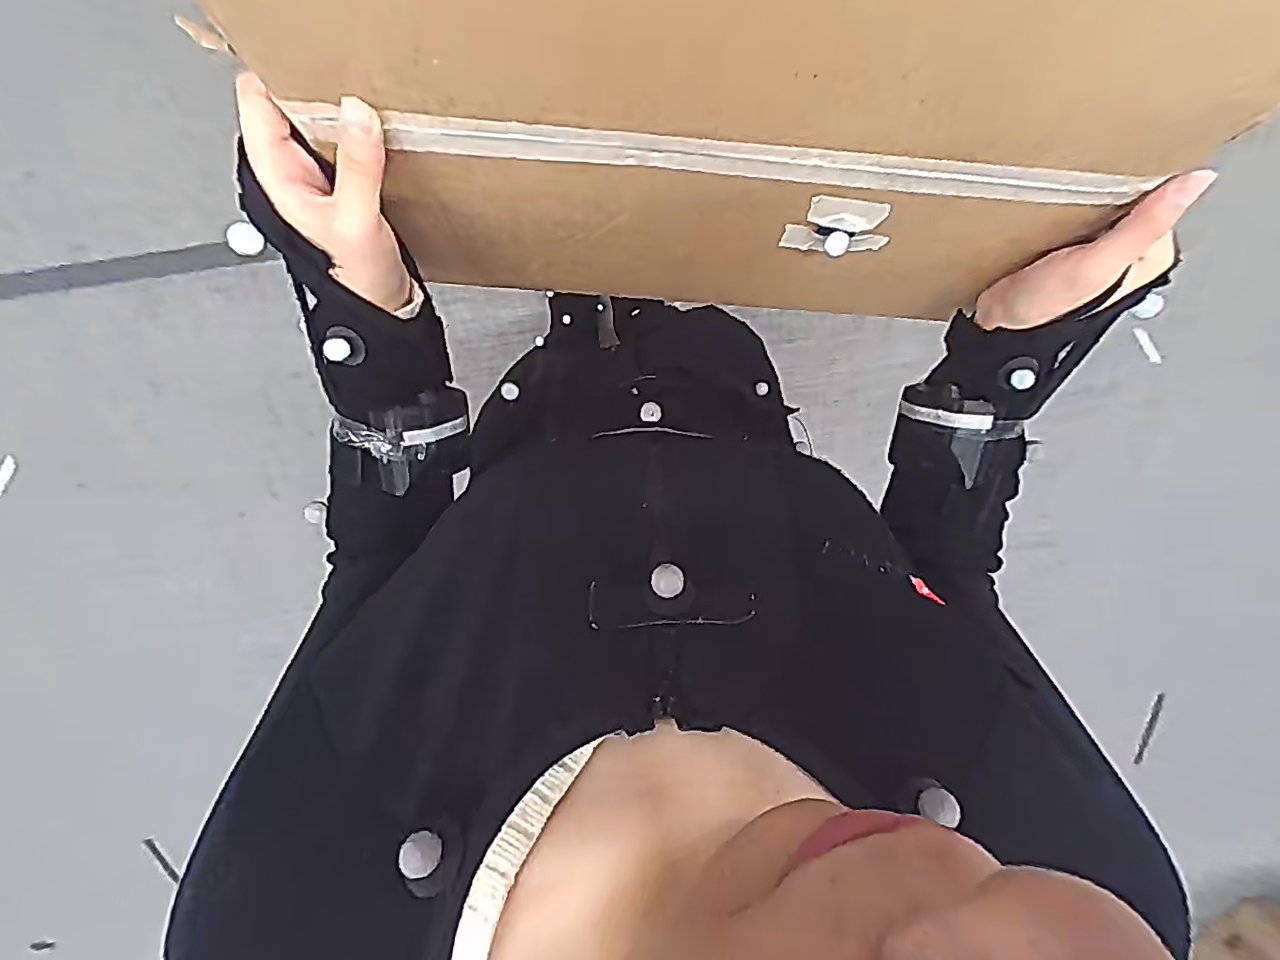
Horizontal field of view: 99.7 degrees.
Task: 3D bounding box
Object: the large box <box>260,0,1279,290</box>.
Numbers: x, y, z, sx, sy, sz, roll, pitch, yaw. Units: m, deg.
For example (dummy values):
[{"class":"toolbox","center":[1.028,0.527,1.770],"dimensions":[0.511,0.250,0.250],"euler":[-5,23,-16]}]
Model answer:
[{"class":"large box","center":[0.060,-0.313,0.249],"dimensions":[0.408,0.320,0.320],"euler":[3,83,-3]}]
